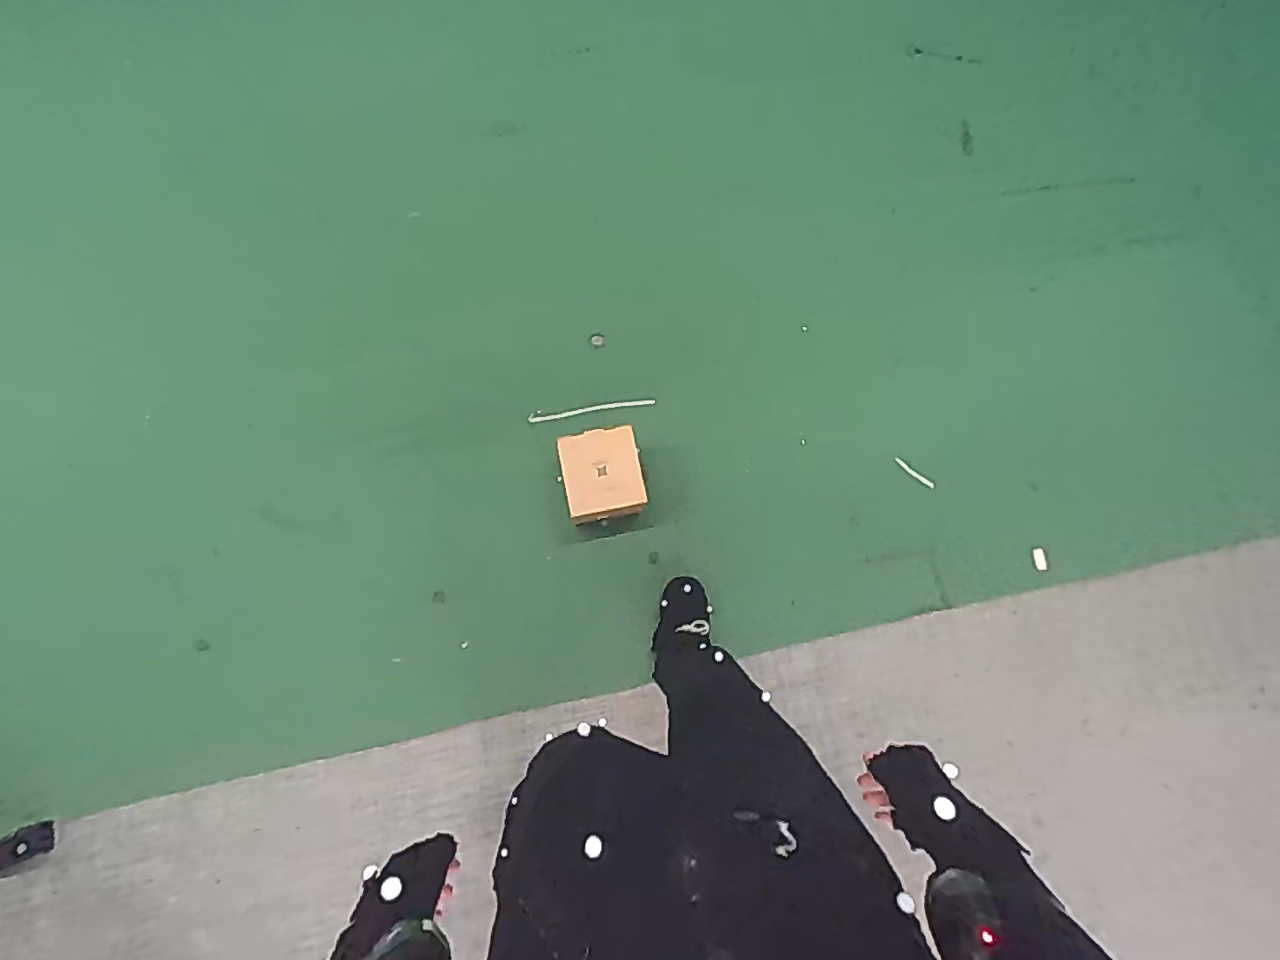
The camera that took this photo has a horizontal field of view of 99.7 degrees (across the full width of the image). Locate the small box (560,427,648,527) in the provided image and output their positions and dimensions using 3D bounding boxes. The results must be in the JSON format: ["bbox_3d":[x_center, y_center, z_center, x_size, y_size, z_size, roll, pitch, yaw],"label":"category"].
[{"bbox_3d":[-0.080,-0.001,1.201,0.168,0.176,0.179,-9,80,-4],"label":"small box"}]
